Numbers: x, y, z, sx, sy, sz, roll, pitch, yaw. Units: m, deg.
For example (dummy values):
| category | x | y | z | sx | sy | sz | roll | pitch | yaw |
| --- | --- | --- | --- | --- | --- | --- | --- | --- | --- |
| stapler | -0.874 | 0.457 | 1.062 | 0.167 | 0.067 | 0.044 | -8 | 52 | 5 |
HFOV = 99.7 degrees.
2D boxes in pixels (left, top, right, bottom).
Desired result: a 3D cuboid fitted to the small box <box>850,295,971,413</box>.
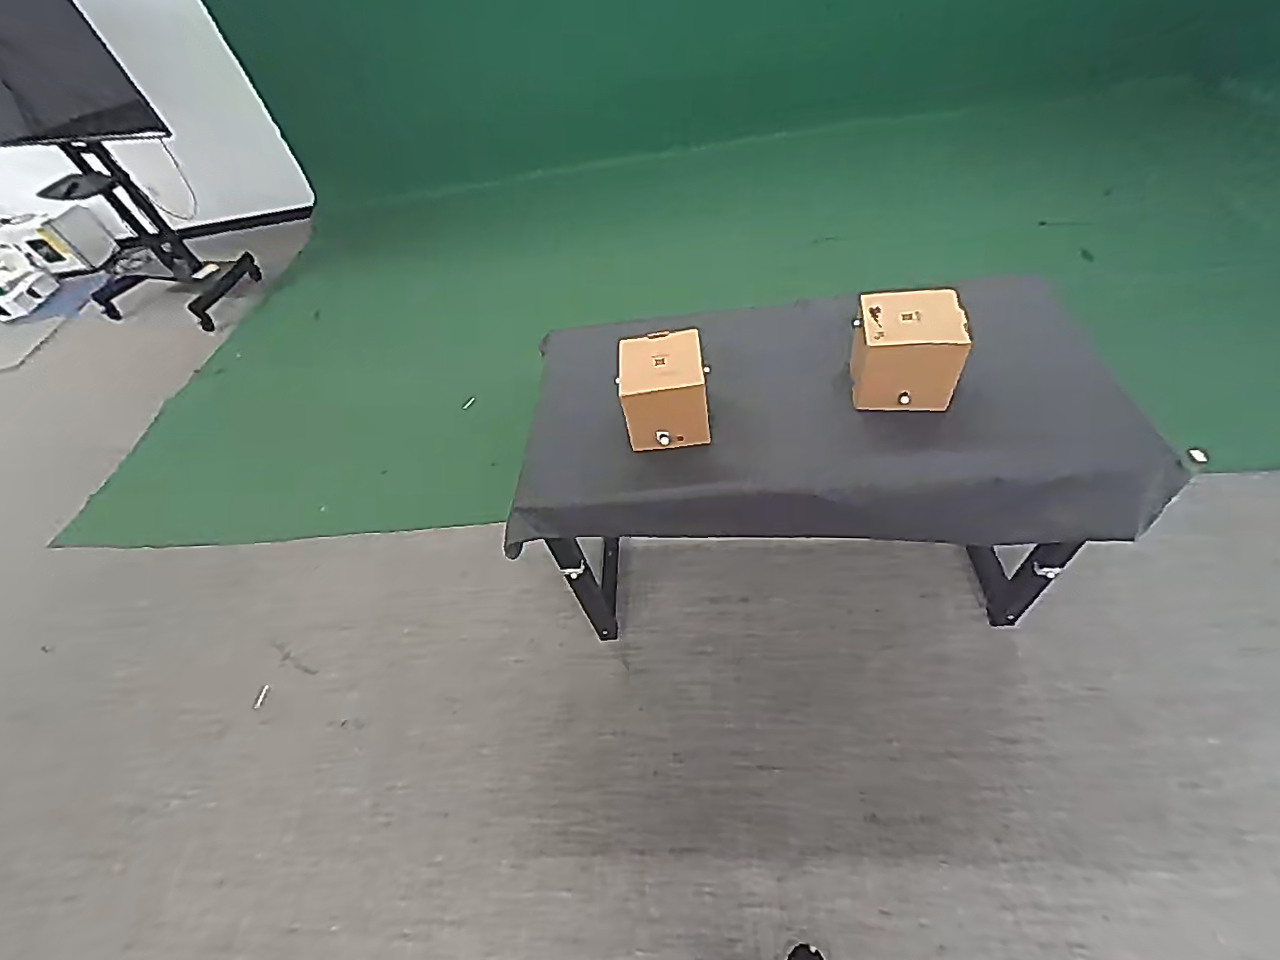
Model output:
| category | x | y | z | sx | sy | sz | roll | pitch | yaw |
| --- | --- | --- | --- | --- | --- | --- | --- | --- | --- |
| small box | 0.531 | -0.250 | 1.088 | 0.179 | 0.176 | 0.168 | 3 | 52 | 13 |

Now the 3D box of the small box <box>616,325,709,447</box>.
| category | x | y | z | sx | sy | sz | roll | pitch | yaw |
| --- | --- | --- | --- | --- | --- | --- | --- | --- | --- |
| small box | 0.052 | -0.192 | 1.117 | 0.168 | 0.176 | 0.179 | -6 | 51 | 9 |
